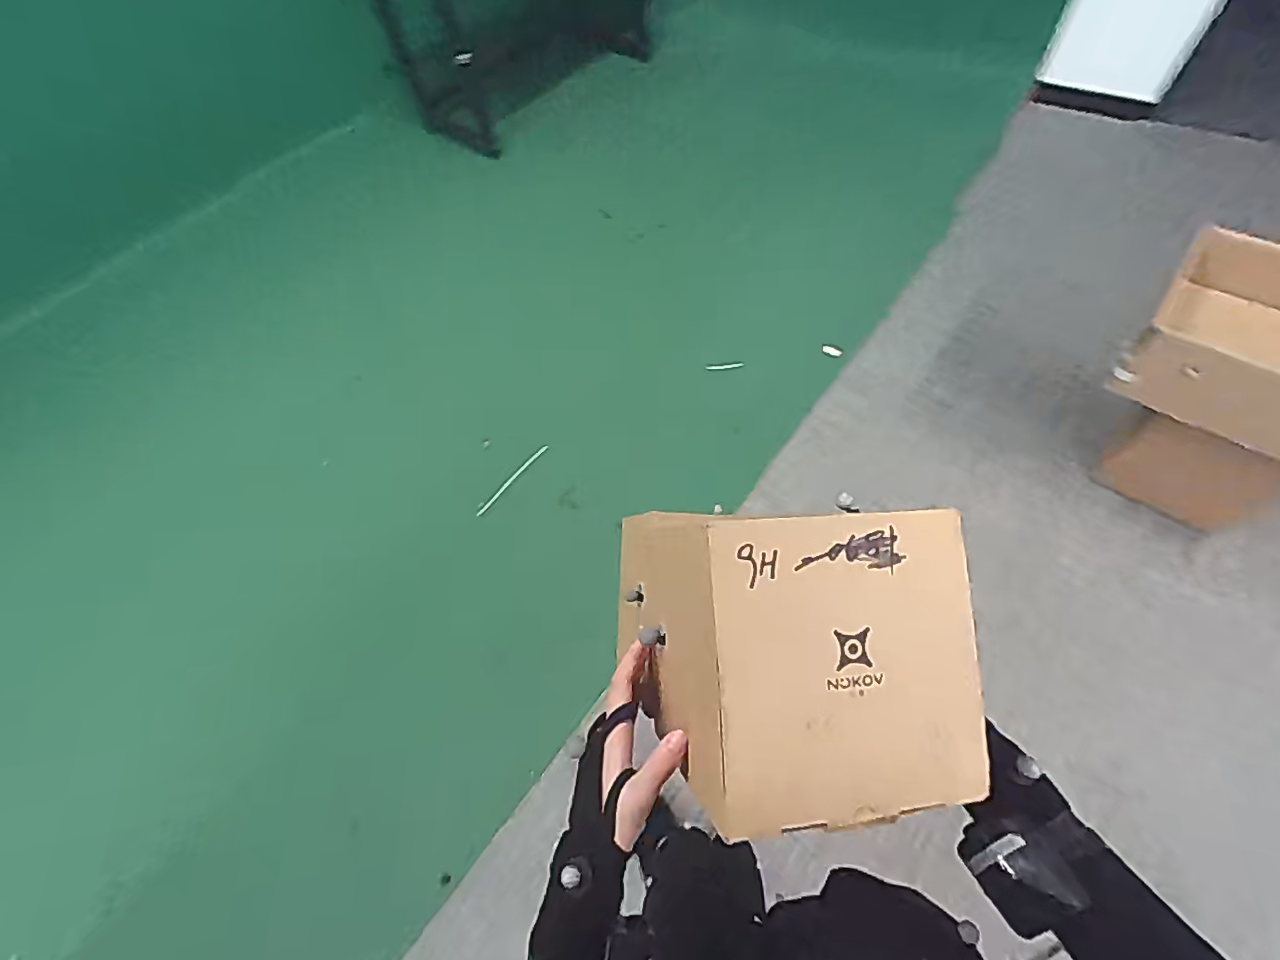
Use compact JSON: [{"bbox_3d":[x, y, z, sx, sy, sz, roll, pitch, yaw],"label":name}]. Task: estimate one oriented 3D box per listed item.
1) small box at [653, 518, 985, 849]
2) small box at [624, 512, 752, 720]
[{"bbox_3d":[0.106,0.117,0.387,0.168,0.176,0.179,-1,86,-11],"label":"small box"},{"bbox_3d":[0.078,0.129,0.549,0.168,0.176,0.179,5,83,-9],"label":"small box"}]
